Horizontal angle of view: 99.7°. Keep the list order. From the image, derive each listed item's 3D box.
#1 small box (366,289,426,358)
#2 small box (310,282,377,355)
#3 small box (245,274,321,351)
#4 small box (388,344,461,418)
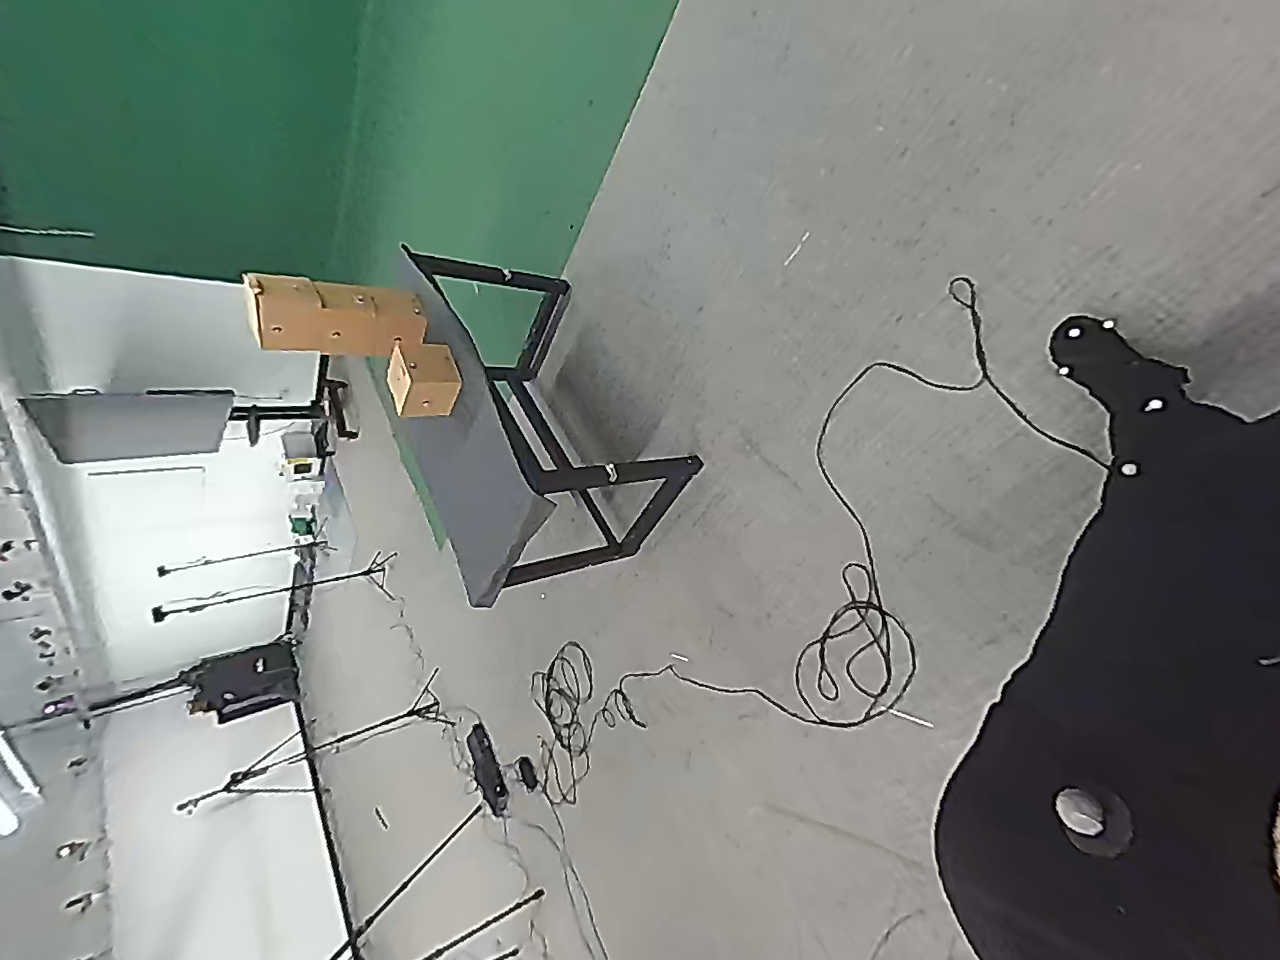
[{"bbox_3d":[-0.877,-0.552,1.917,0.168,0.176,0.179,56,134,25],"label":"small box"},{"bbox_3d":[-0.995,-0.534,1.807,0.168,0.176,0.179,52,131,27],"label":"small box"},{"bbox_3d":[-1.115,-0.519,1.694,0.168,0.176,0.179,49,130,29],"label":"small box"},{"bbox_3d":[-0.701,-0.321,1.763,0.179,0.176,0.168,-47,62,43],"label":"small box"}]
